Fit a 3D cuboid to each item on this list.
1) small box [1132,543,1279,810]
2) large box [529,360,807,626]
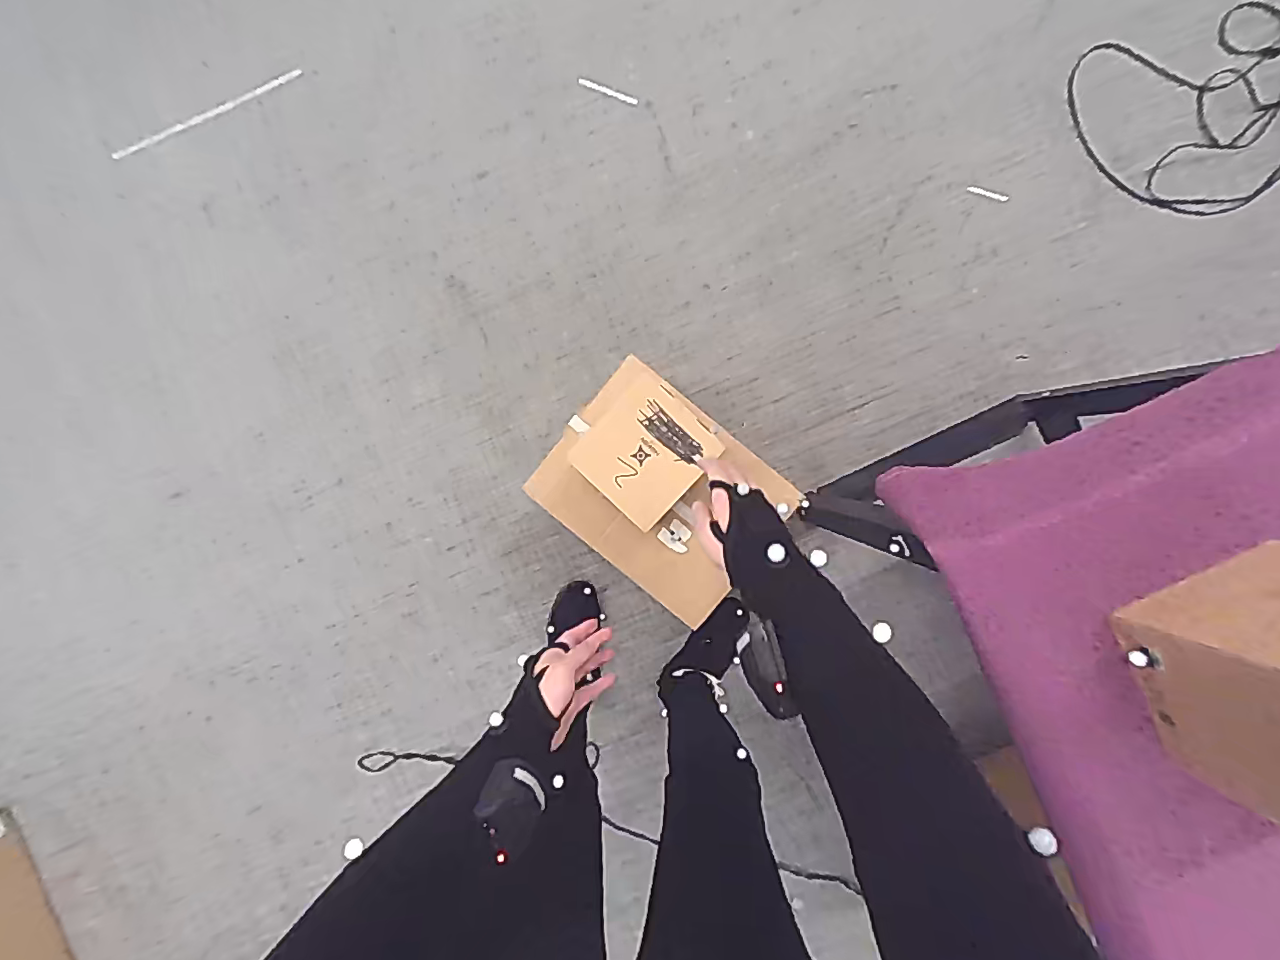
[{"bbox_3d":[0.561,0.166,0.438,0.179,0.176,0.168,-25,91,0],"label":"small box"},{"bbox_3d":[0.046,0.019,1.104,0.408,0.320,0.320,39,92,-1],"label":"large box"}]
